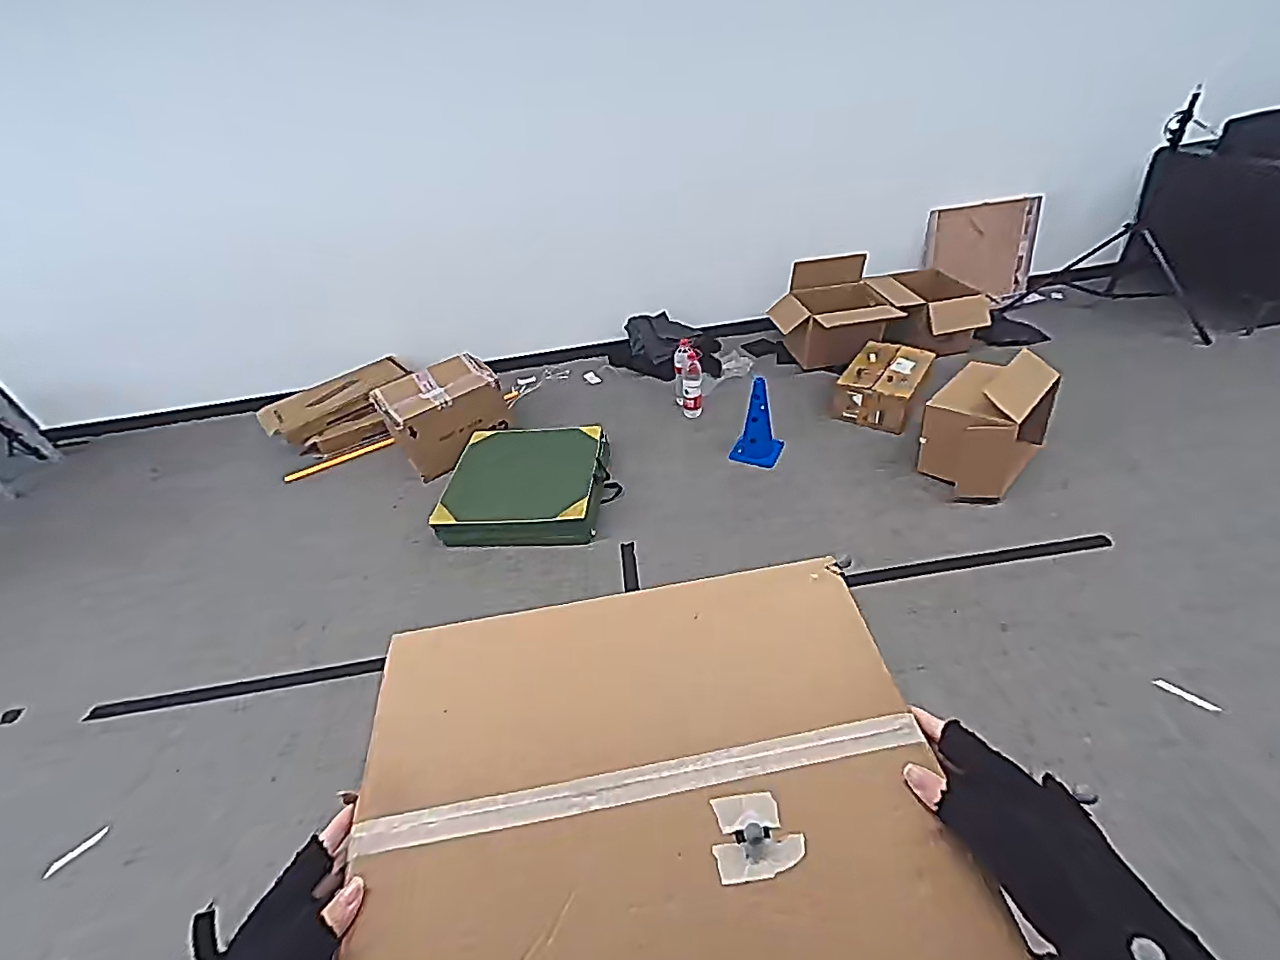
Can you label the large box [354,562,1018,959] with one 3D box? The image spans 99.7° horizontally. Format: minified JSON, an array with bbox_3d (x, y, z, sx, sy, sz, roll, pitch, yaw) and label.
[{"bbox_3d":[0.014,0.321,0.506,0.408,0.320,0.320,-9,47,-3],"label":"large box"}]
